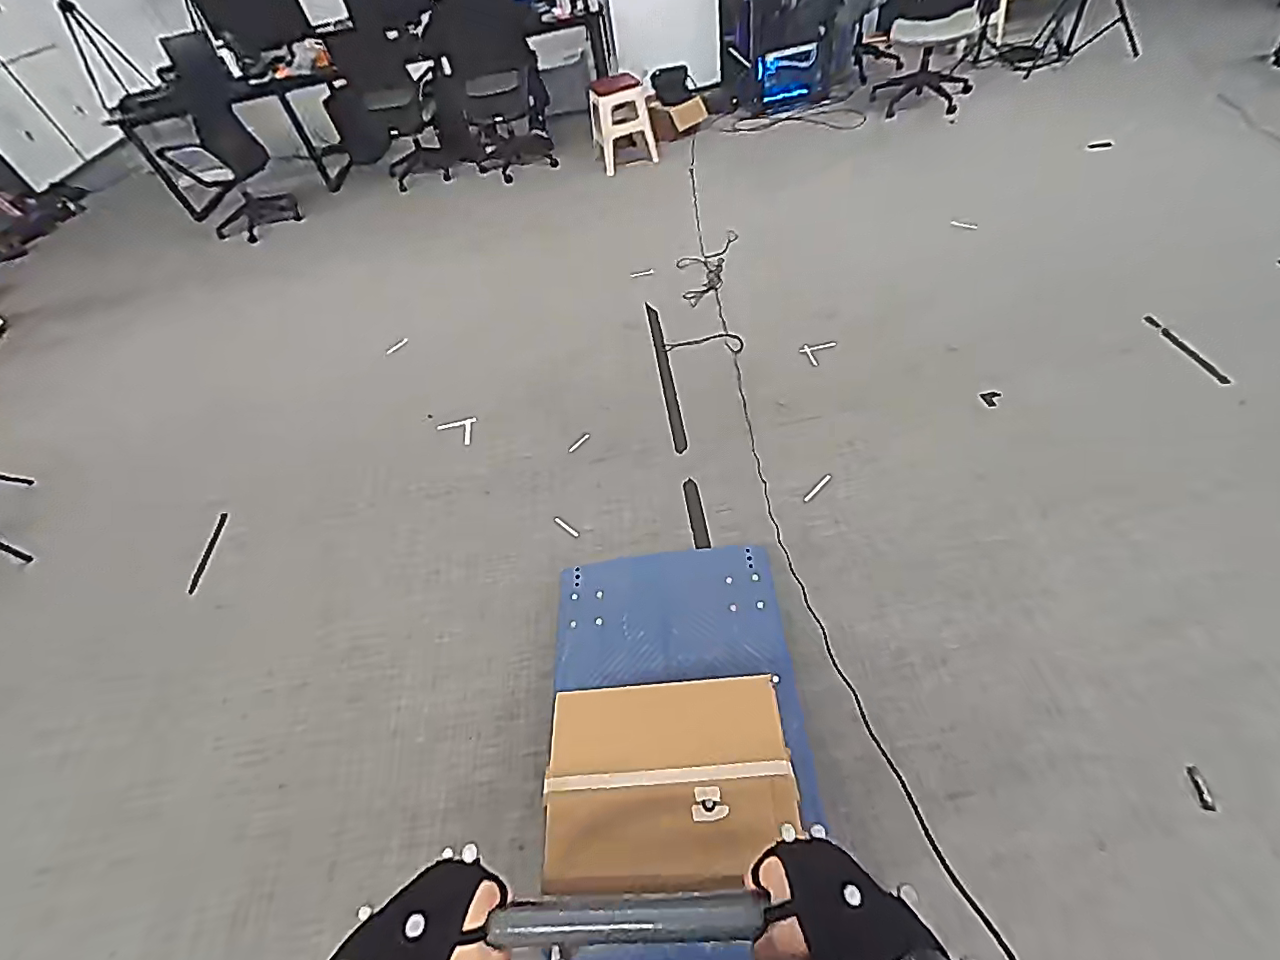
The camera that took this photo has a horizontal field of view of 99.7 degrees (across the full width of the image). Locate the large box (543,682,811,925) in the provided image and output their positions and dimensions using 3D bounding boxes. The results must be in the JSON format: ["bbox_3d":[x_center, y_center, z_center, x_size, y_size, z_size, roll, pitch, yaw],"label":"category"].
[{"bbox_3d":[0.063,0.600,0.994,0.408,0.320,0.320,-7,48,5],"label":"large box"}]
